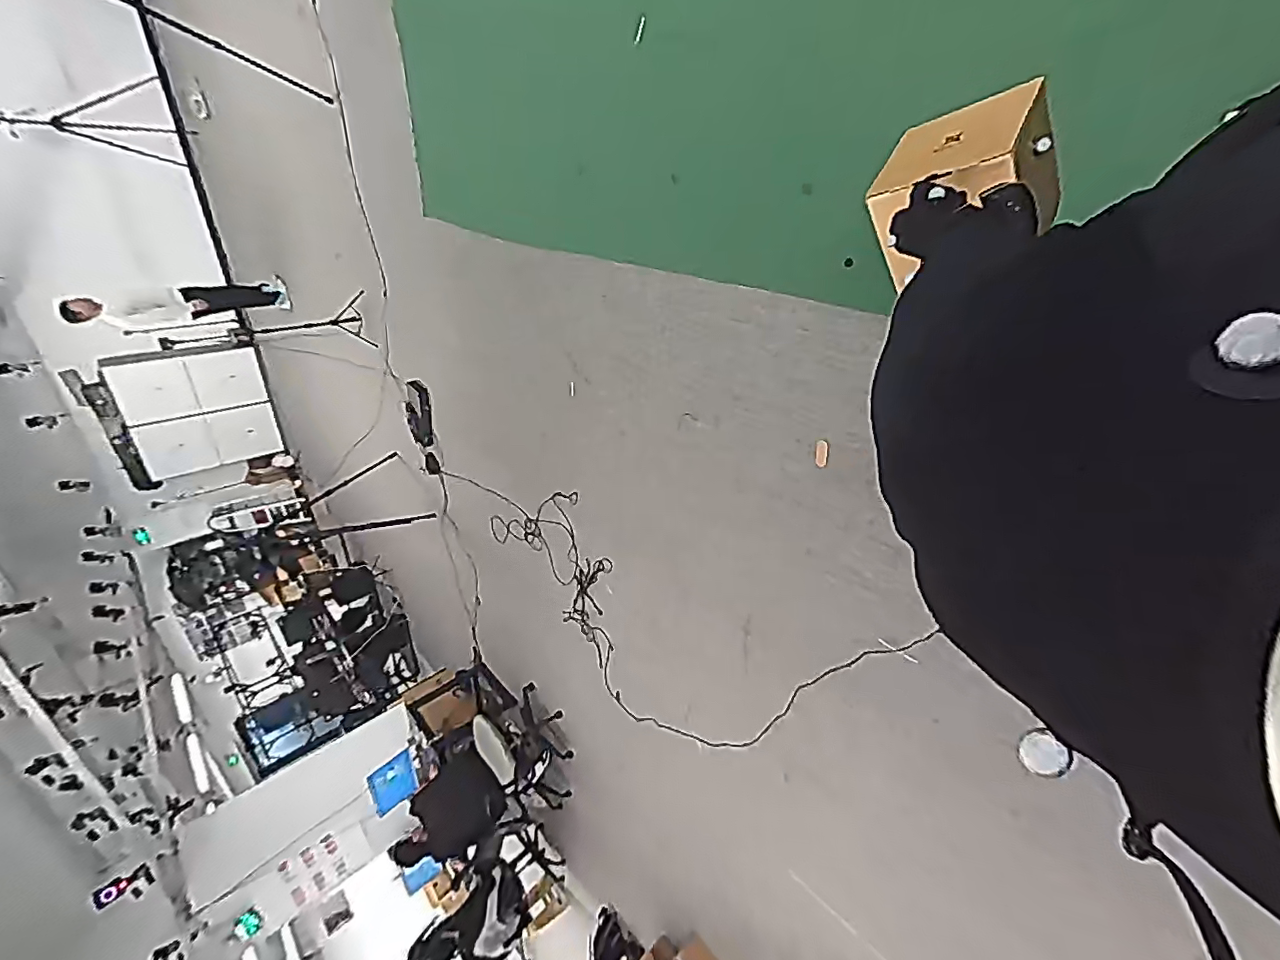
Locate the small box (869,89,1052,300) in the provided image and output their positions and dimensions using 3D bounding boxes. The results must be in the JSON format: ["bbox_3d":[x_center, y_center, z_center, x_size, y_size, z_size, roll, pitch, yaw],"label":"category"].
[{"bbox_3d":[0.445,-0.377,0.742,0.168,0.179,0.176,6,145,48],"label":"small box"}]
